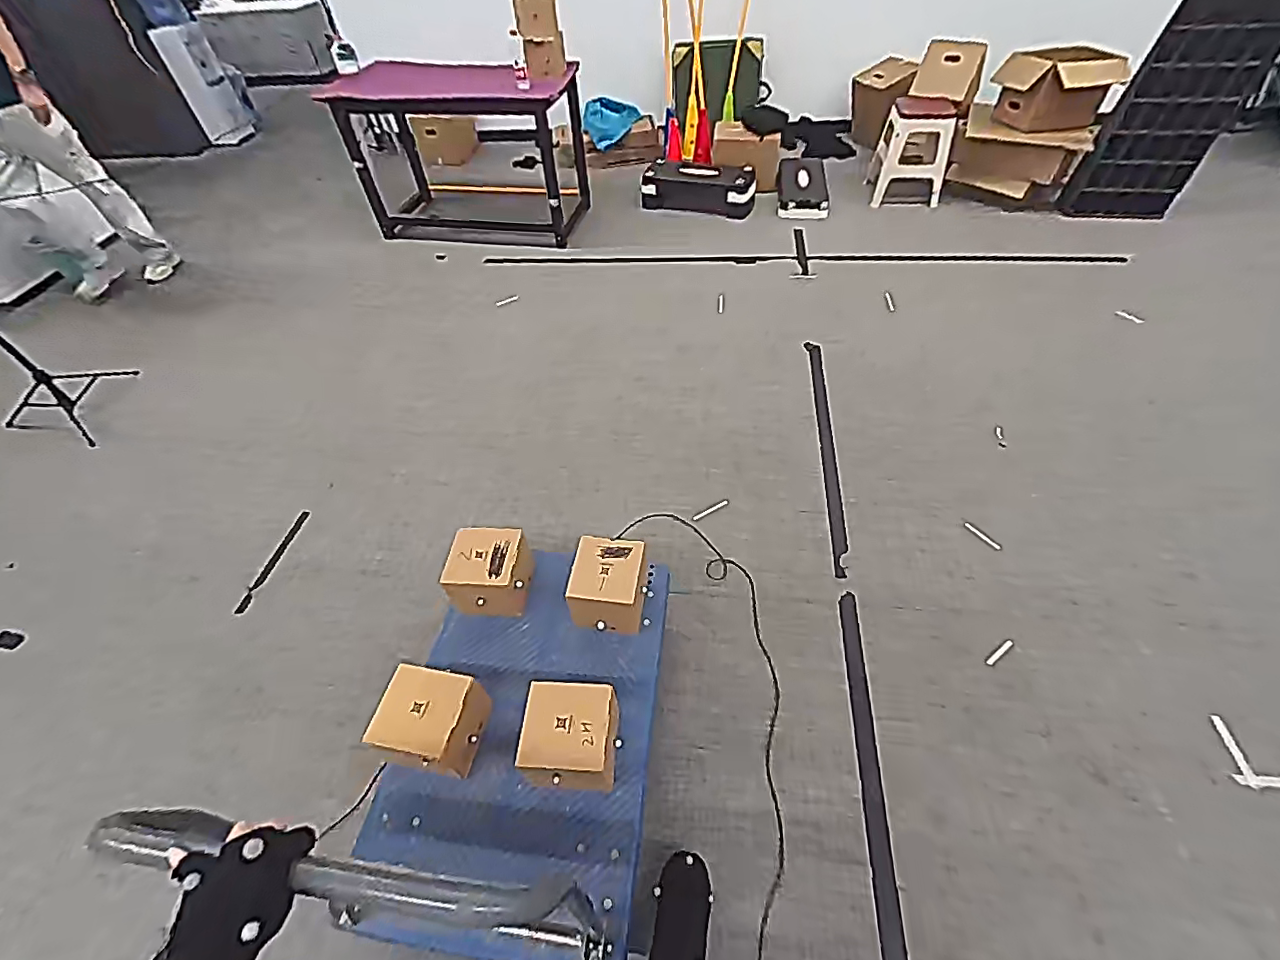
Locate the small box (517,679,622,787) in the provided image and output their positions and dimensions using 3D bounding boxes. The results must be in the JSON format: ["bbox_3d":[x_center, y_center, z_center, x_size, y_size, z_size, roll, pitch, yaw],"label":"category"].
[{"bbox_3d":[-0.139,0.536,1.139,0.179,0.176,0.168,1,50,6],"label":"small box"}]

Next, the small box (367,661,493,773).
[{"bbox_3d":[-0.445,0.519,1.178,0.179,0.176,0.168,7,50,9],"label":"small box"}]

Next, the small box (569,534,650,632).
[{"bbox_3d":[-0.069,0.262,1.368,0.168,0.176,0.179,5,51,9],"label":"small box"}]
